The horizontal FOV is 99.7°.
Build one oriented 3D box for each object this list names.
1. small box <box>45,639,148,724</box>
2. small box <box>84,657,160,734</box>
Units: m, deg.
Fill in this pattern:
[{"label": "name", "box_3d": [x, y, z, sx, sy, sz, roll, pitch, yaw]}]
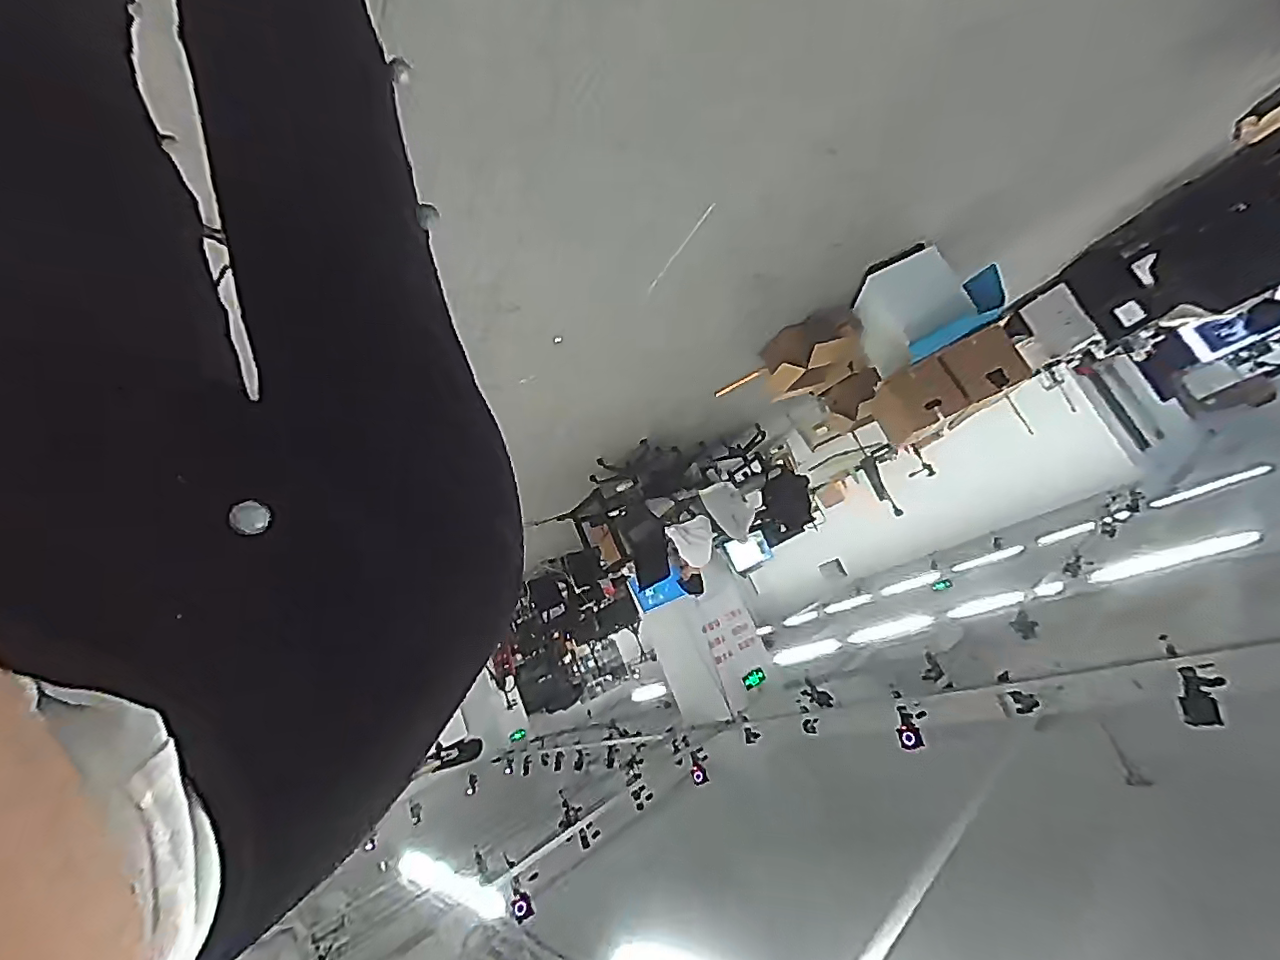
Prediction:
[{"label": "small box", "box_3d": [-1.501, 0.556, 1.499, 0.168, 0.176, 0.179, -14, 164, -36]}, {"label": "small box", "box_3d": [-1.657, 0.681, 1.720, 0.168, 0.176, 0.179, -11, 162, -42]}]
